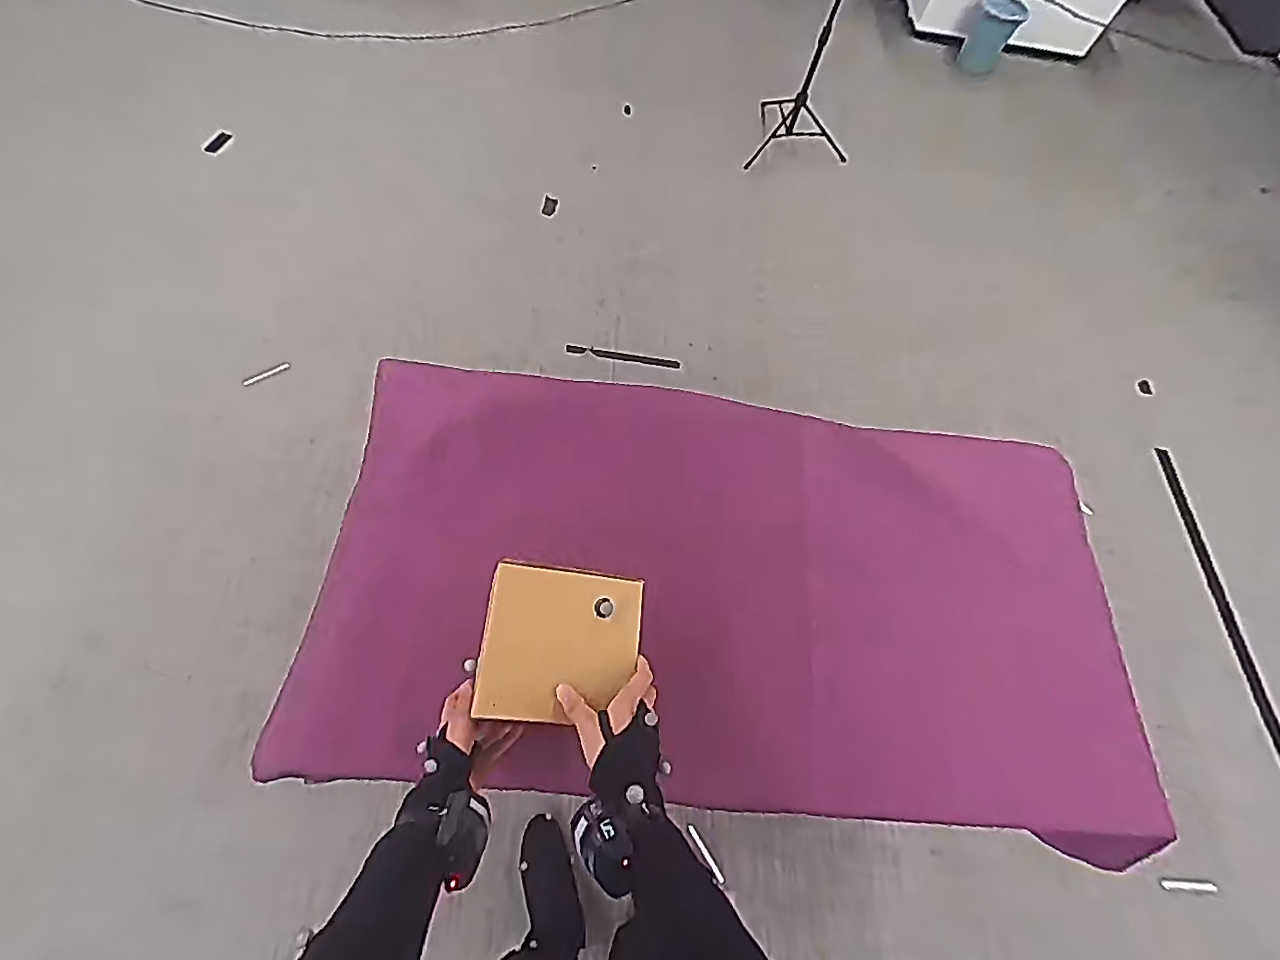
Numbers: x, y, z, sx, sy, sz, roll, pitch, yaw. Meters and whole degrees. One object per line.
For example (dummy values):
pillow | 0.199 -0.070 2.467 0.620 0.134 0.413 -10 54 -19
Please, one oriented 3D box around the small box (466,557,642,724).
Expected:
small box | -0.108 0.208 0.671 0.179 0.168 0.176 11 65 -14
